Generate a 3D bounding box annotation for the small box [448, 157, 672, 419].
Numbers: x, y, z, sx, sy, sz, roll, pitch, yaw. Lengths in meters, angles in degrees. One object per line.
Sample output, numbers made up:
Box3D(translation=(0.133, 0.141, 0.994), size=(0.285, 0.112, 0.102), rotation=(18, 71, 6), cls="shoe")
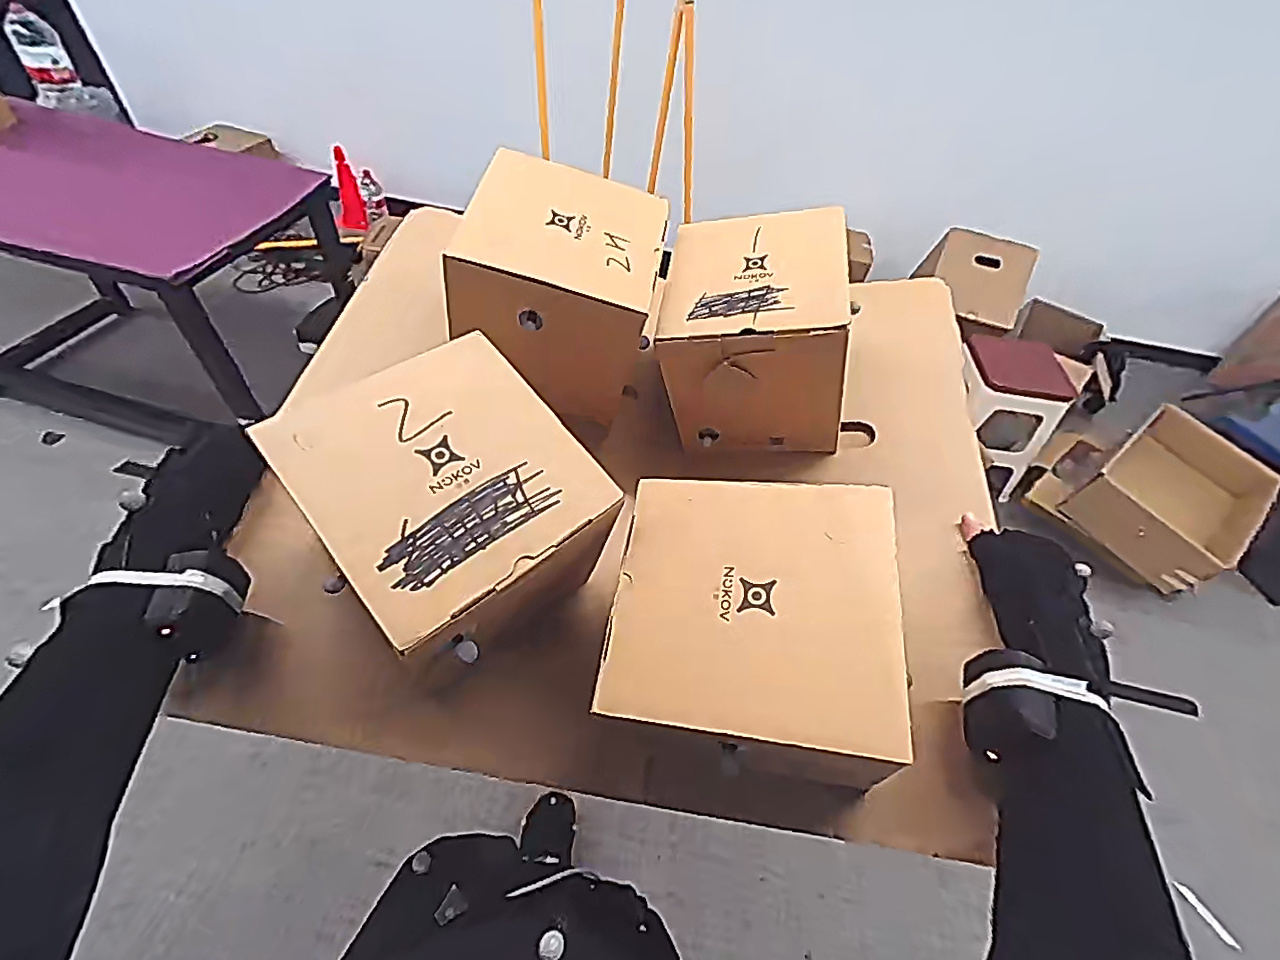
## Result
Box3D(translation=(-0.082, -0.187, 0.562), size=(0.179, 0.176, 0.168), rotation=(15, 59, -7), cls="small box")
